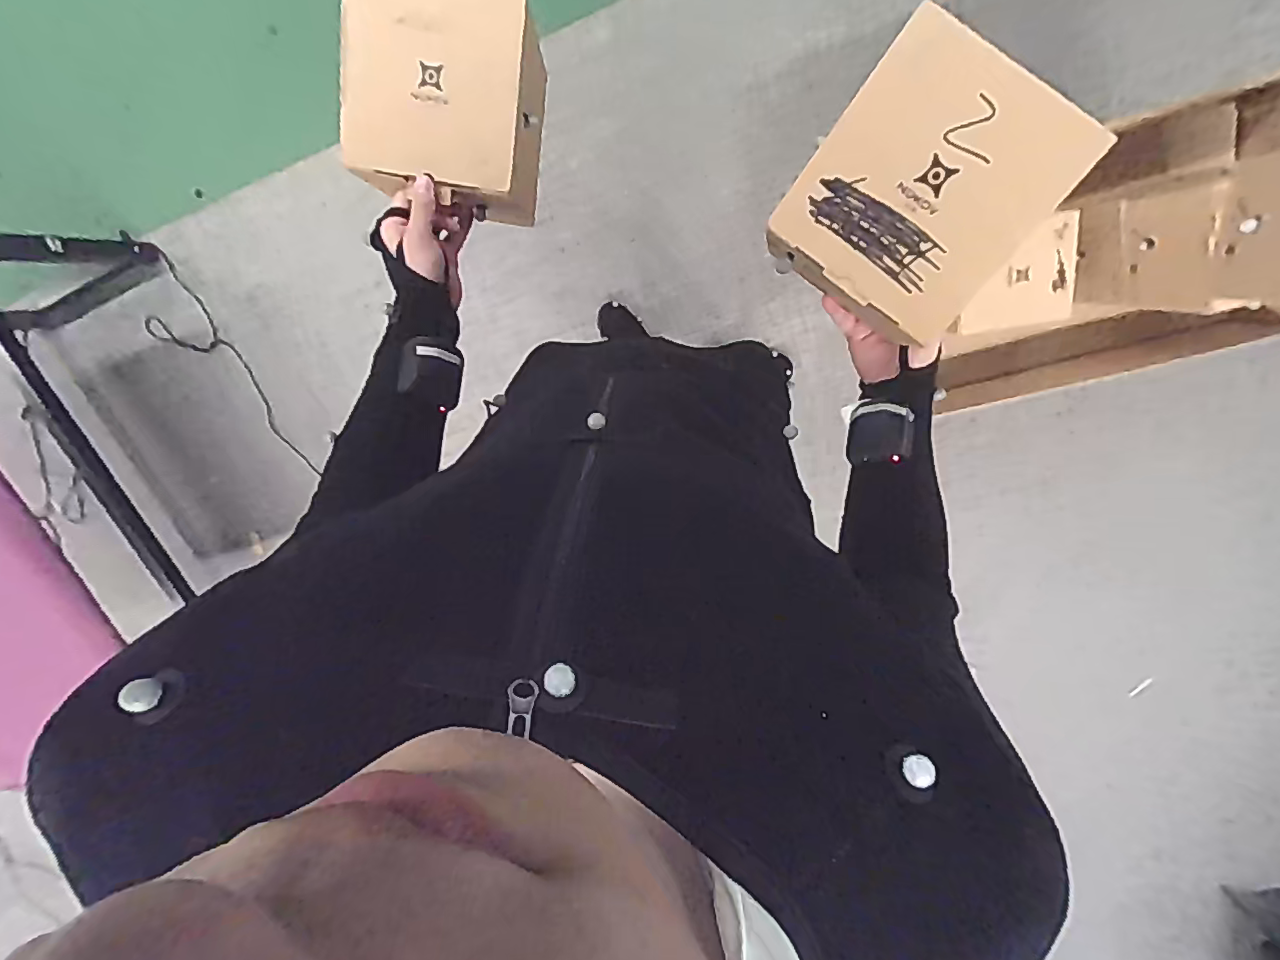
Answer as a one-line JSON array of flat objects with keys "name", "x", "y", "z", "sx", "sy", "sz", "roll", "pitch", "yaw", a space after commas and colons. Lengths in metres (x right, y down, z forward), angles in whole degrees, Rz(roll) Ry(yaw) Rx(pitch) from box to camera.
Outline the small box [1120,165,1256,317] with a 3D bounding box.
[{"name": "small box", "x": 0.825, "y": -0.338, "z": 0.753, "sx": 0.179, "sy": 0.176, "sz": 0.168, "roll": -14, "pitch": 108, "yaw": 13}]

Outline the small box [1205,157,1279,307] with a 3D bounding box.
[{"name": "small box", "x": 0.807, "y": -0.288, "z": 0.597, "sx": 0.179, "sy": 0.176, "sz": 0.168, "roll": -4, "pitch": 109, "yaw": 10}]

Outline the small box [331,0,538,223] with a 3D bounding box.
[{"name": "small box", "x": -0.209, "y": -0.395, "z": 0.585, "sx": 0.168, "sy": 0.176, "sz": 0.179, "roll": 7, "pitch": 104, "yaw": -5}]

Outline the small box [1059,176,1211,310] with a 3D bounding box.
[{"name": "small box", "x": 0.848, "y": -0.393, "z": 0.903, "sx": 0.179, "sy": 0.176, "sz": 0.168, "roll": -13, "pitch": 107, "yaw": 12}]
